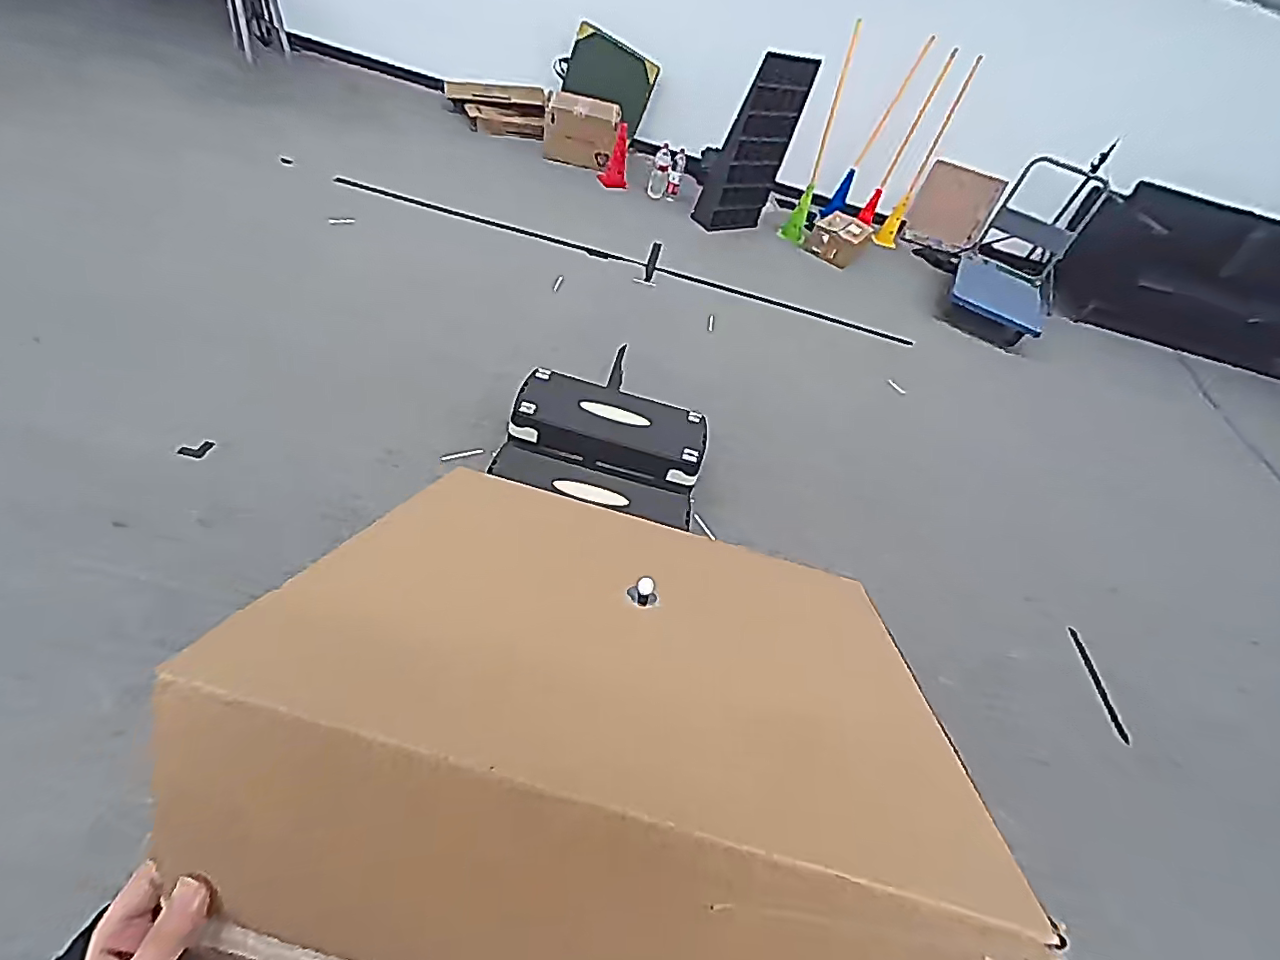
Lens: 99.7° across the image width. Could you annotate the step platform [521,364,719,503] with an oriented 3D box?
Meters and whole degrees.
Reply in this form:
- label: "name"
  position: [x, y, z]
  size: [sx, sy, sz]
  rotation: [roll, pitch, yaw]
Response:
- label: "step platform"
  position: [-0.066, -0.173, 1.920]
  size: [0.684, 0.204, 0.286]
  rotation: [20, 46, 0]
